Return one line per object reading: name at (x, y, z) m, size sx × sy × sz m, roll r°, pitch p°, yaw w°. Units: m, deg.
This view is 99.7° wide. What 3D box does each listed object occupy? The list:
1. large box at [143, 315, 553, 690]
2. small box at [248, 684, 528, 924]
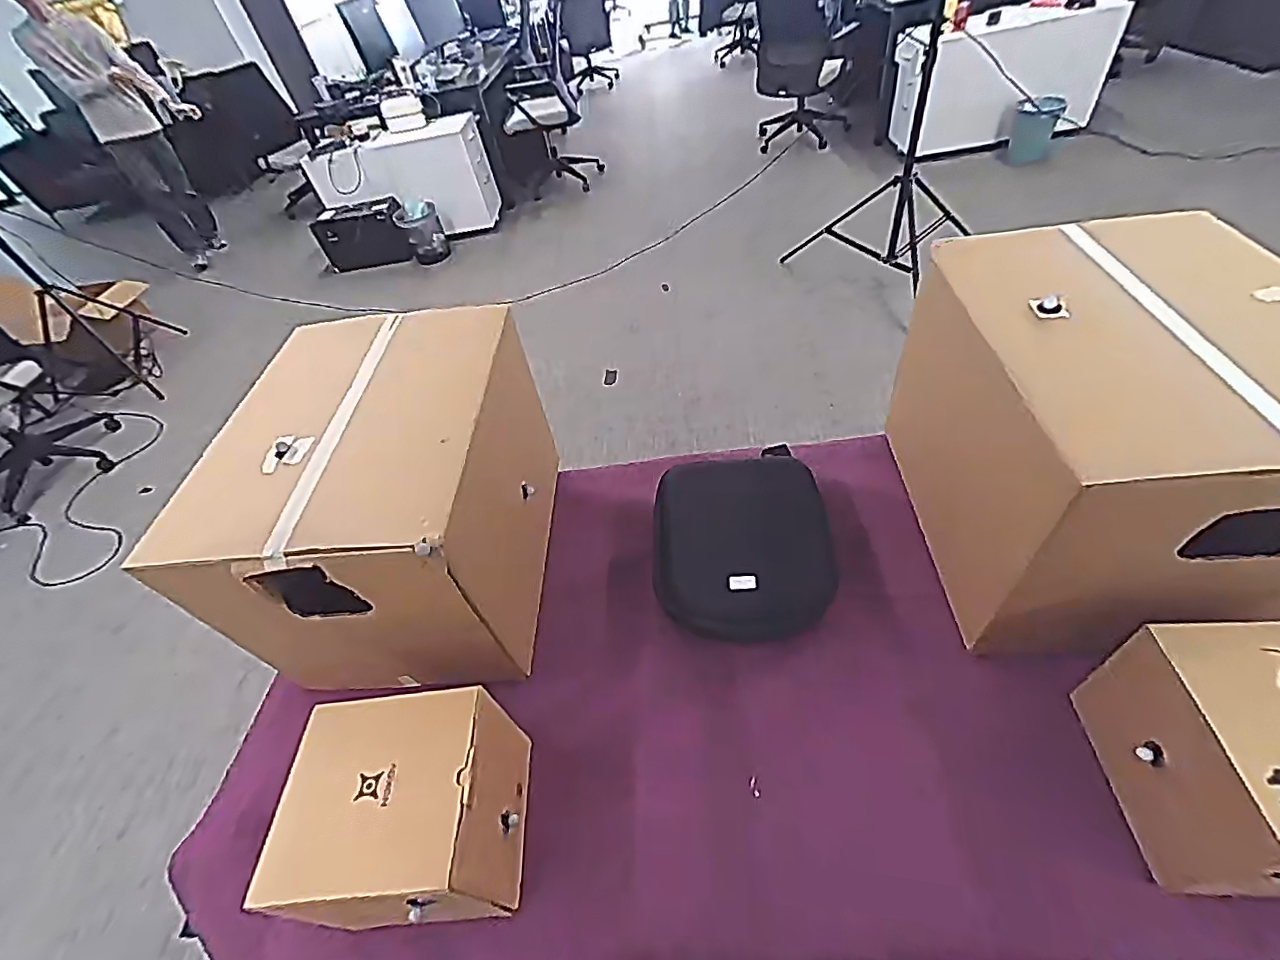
large box at (-0.312, 0.029, 0.741) m, size 0.320 × 0.320 × 0.408 m, roll -6°, pitch 49°, yaw 5°
small box at (-0.228, 0.330, 0.546) m, size 0.179 × 0.176 × 0.168 m, roll -8°, pitch 46°, yaw 3°
